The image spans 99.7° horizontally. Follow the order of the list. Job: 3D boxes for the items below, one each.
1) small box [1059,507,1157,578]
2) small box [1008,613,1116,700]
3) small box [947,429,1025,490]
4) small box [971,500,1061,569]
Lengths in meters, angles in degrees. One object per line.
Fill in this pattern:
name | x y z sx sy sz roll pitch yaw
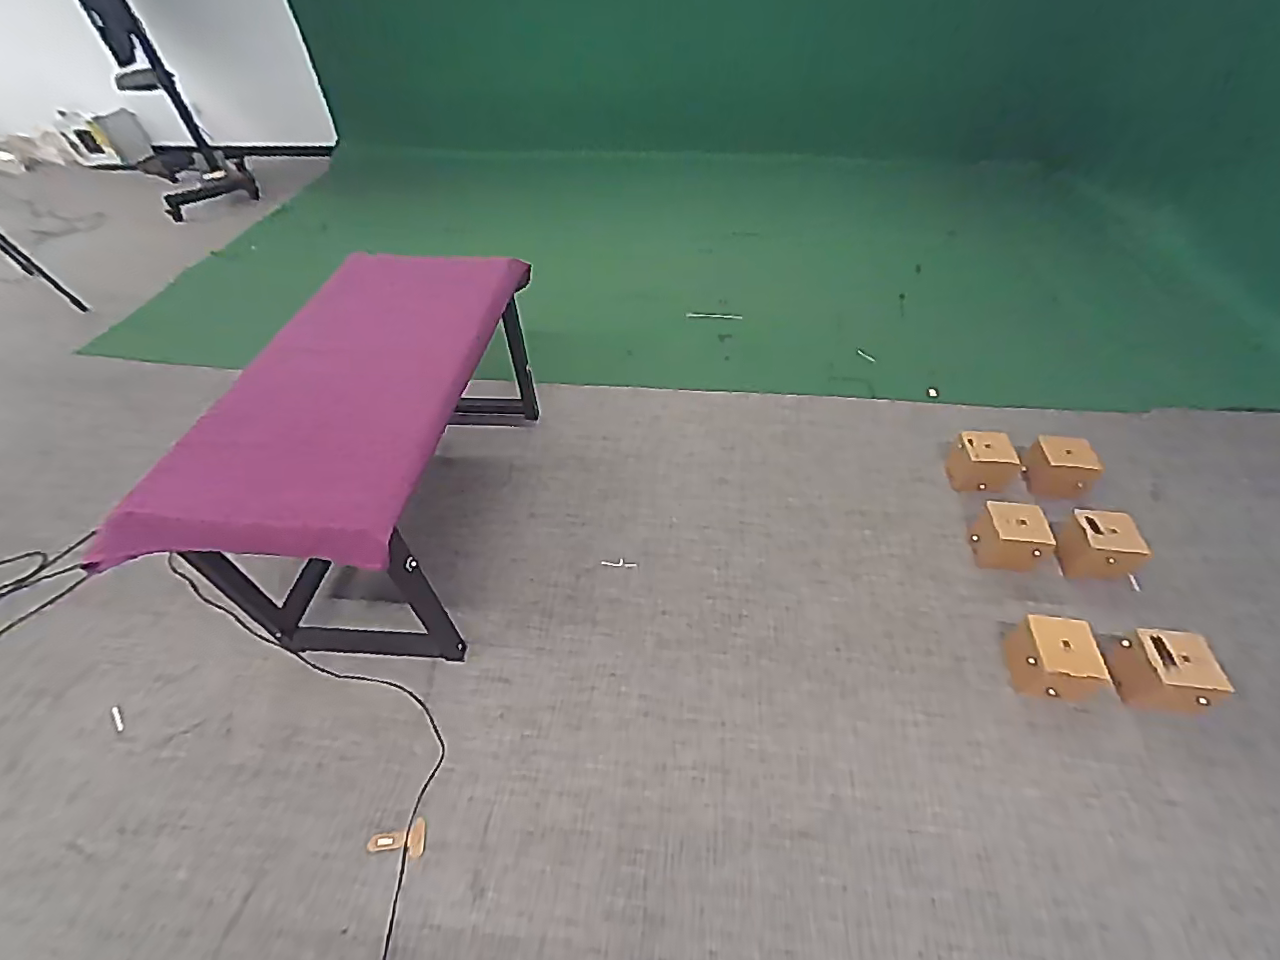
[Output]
small box | 1.551 0.211 1.813 0.179 0.176 0.168 5 49 7
small box | 1.207 0.511 1.565 0.168 0.176 0.179 5 49 7
small box | 1.325 -0.076 2.083 0.179 0.176 0.168 4 48 5
small box | 1.276 0.189 1.848 0.179 0.176 0.168 5 48 7
